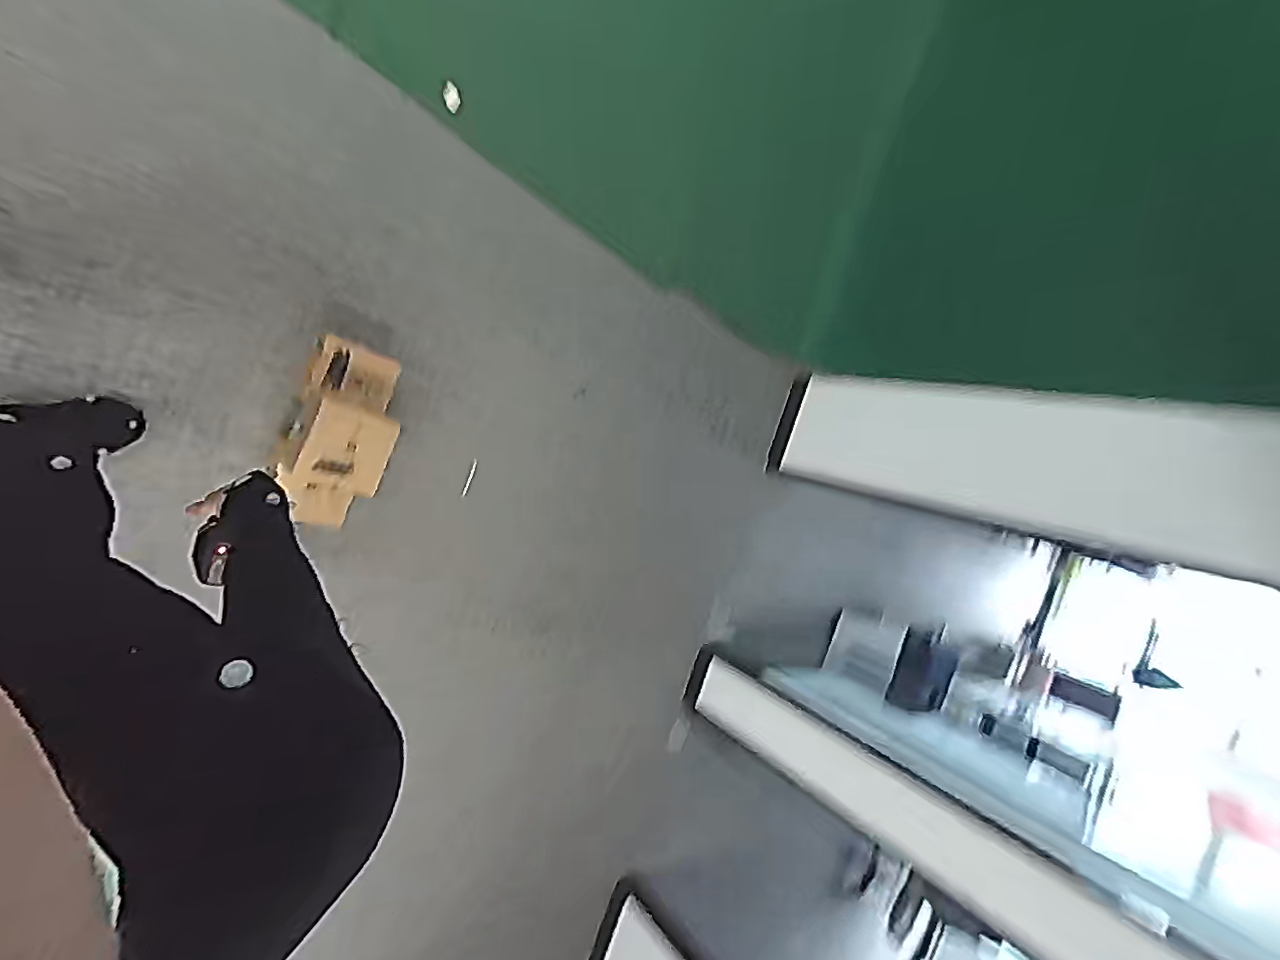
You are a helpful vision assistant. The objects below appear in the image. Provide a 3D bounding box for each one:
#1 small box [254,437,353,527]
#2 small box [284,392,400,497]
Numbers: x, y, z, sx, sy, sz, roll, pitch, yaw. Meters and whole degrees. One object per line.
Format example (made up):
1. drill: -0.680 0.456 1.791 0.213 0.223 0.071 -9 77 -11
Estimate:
1. small box: -0.822 0.001 1.335 0.179 0.176 0.168 22 88 -43
2. small box: -0.675 -0.083 1.215 0.168 0.176 0.179 24 86 -43
